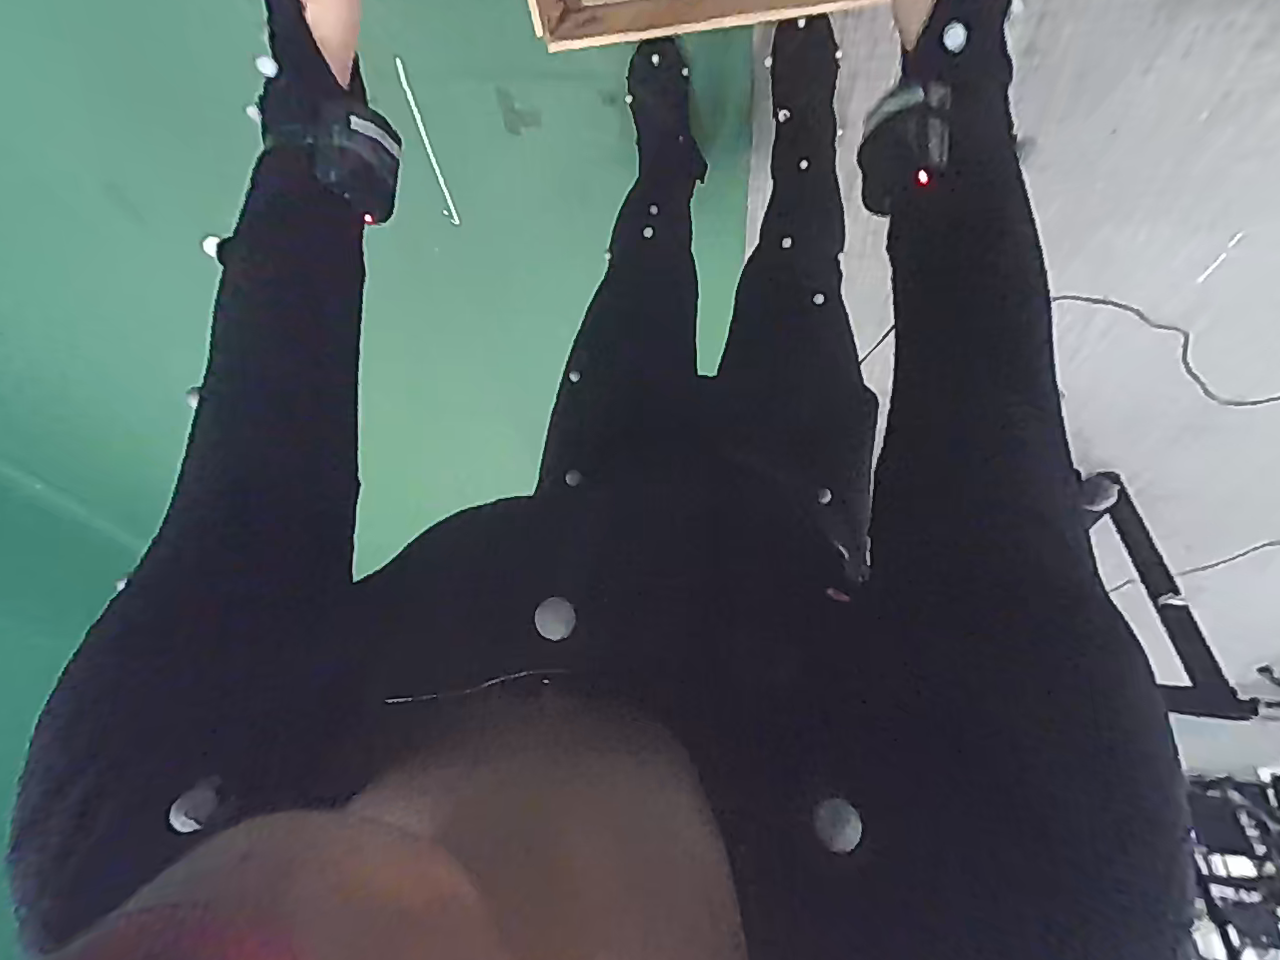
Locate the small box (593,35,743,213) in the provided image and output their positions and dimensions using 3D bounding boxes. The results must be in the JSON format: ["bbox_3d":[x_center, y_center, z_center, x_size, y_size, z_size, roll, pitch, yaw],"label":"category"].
[{"bbox_3d":[0.057,-0.617,0.956,0.176,0.168,0.179,7,130,-50],"label":"small box"}]
